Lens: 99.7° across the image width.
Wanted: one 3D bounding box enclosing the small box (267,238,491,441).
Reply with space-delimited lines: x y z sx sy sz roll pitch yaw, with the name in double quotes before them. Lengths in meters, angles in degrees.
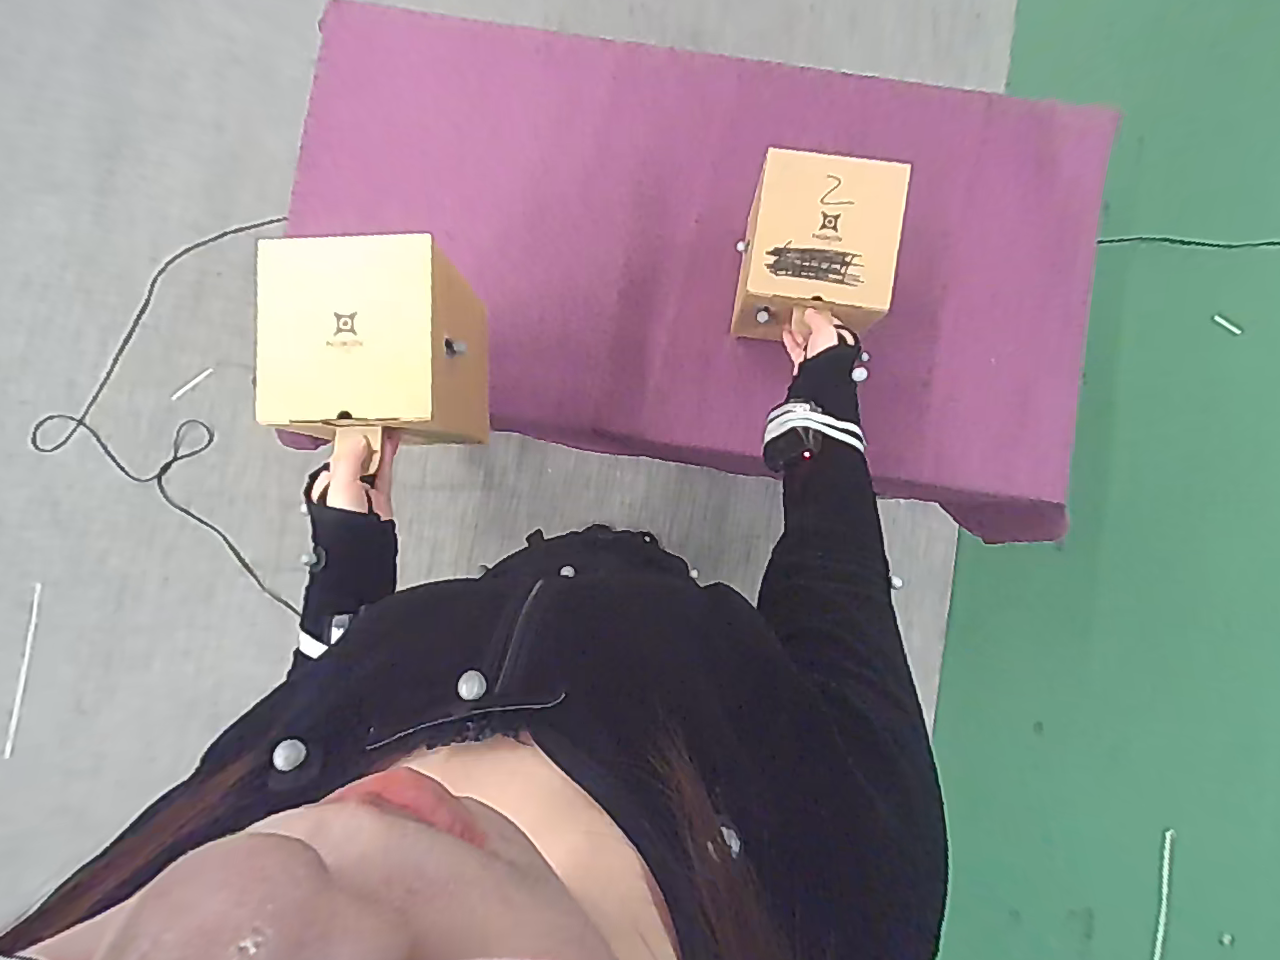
"small box" -0.270 -0.141 0.594 0.168 0.176 0.179 -1 88 2
